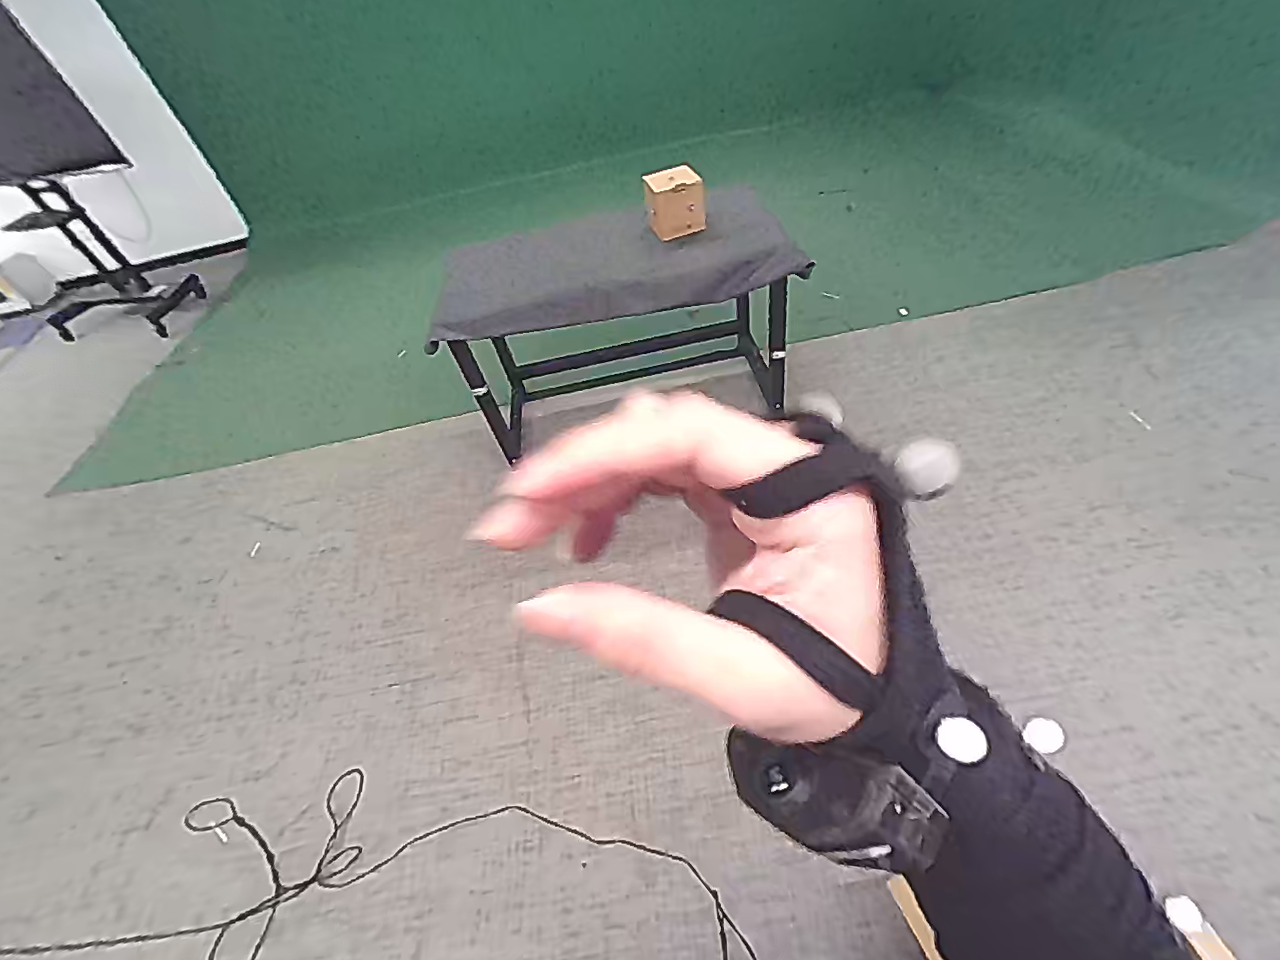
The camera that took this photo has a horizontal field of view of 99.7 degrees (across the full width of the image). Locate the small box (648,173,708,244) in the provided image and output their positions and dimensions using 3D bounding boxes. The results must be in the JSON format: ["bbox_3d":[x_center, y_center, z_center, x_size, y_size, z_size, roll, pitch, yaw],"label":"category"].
[{"bbox_3d":[0.139,-0.960,1.922,0.168,0.176,0.179,-16,45,-5],"label":"small box"}]
